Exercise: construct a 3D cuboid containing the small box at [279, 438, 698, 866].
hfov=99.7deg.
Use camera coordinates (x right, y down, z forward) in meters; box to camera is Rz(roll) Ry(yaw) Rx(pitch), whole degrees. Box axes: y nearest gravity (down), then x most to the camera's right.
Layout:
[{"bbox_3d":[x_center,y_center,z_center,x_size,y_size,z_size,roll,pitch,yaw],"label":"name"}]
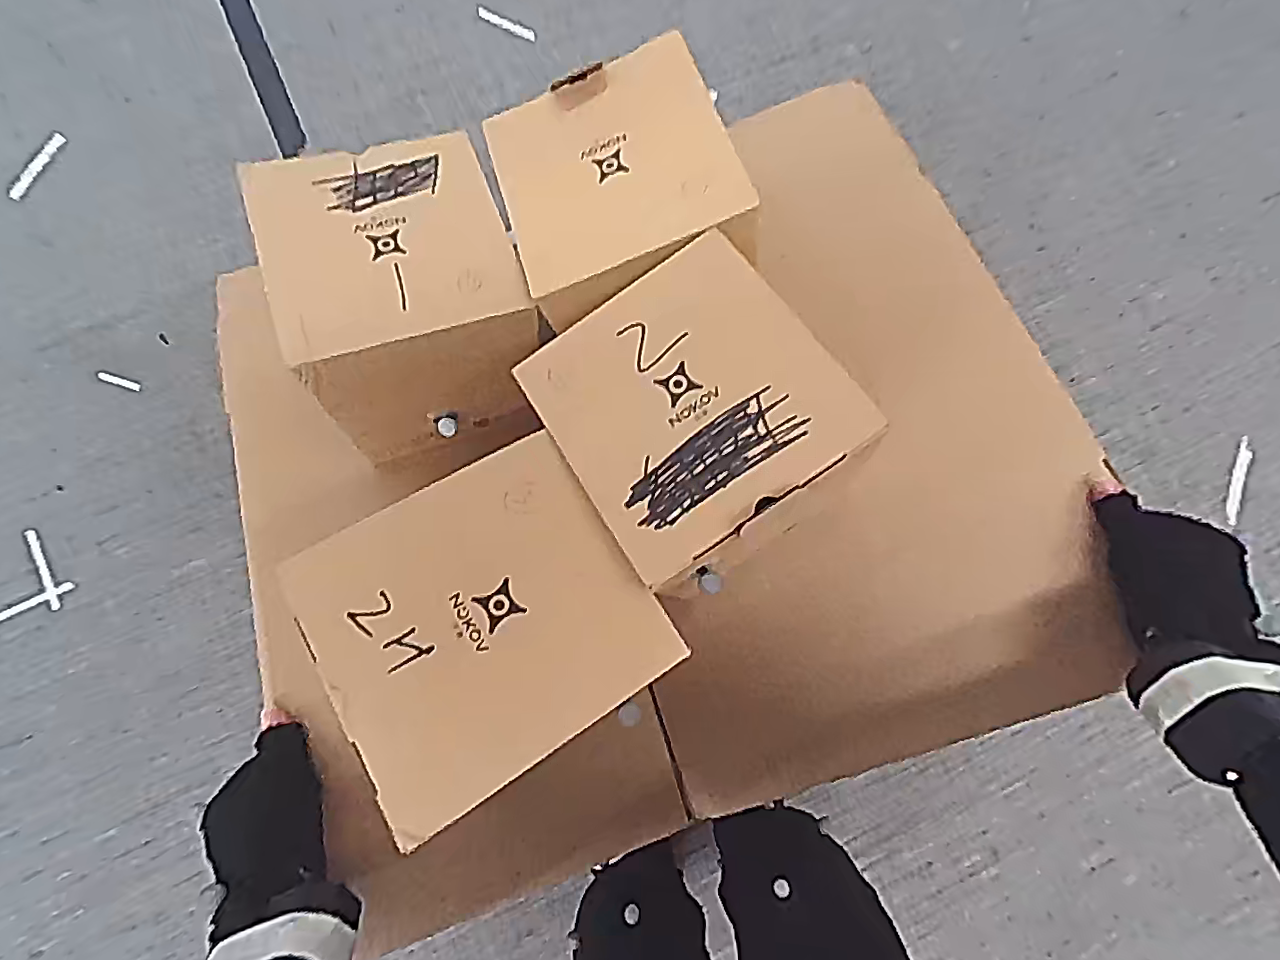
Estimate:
[{"bbox_3d":[-0.091,0.104,0.370,0.179,0.176,0.168,-29,76,-16],"label":"small box"}]
